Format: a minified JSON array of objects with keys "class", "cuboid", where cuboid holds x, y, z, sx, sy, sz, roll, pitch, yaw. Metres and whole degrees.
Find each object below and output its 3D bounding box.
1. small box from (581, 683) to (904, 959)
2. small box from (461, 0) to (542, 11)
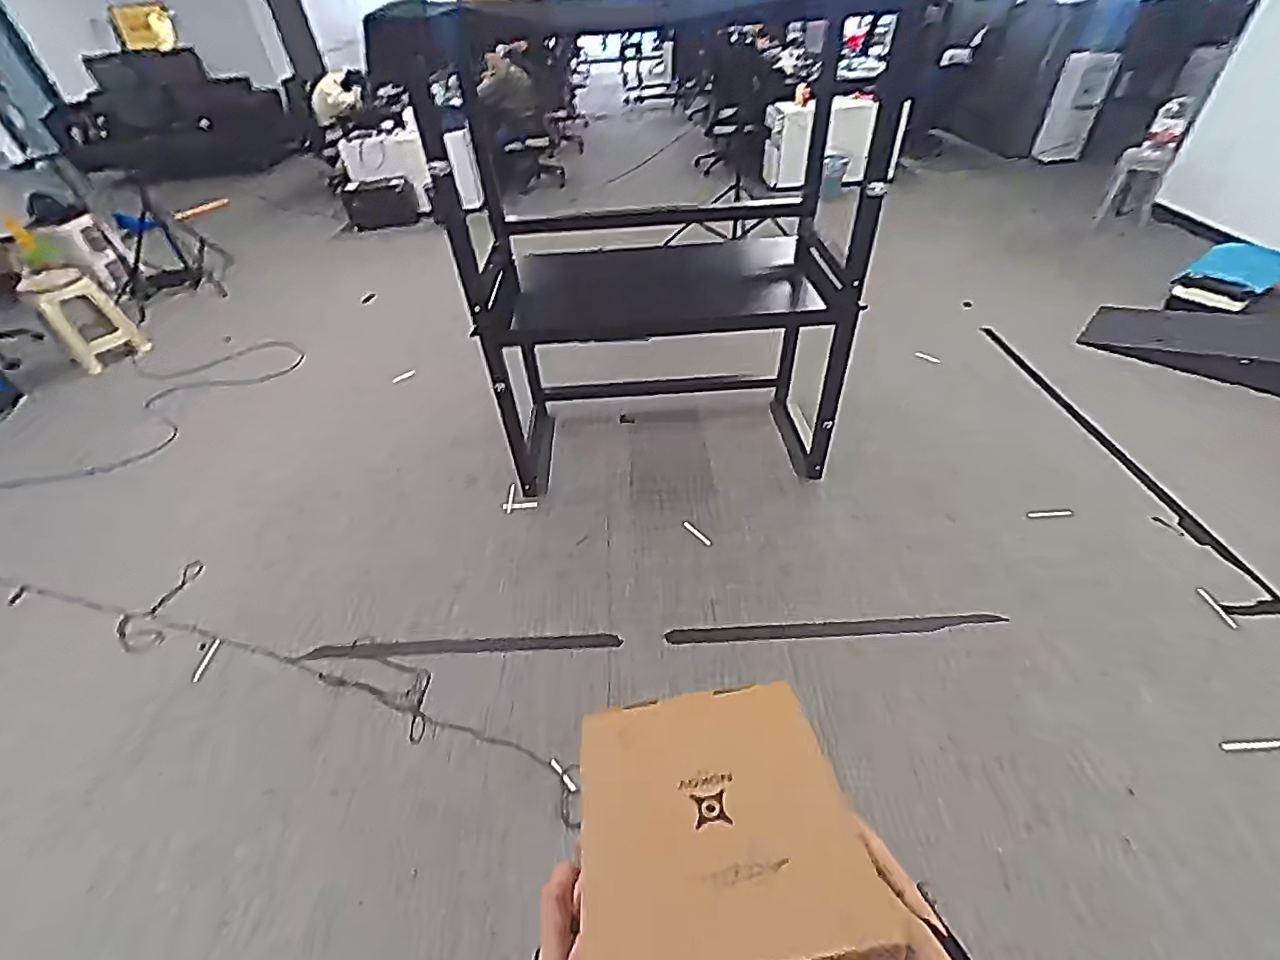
[{"class":"small box","cuboid":[0.052,0.277,0.375,0.168,0.176,0.179,-9,26,-2]},{"class":"small box","cuboid":[-0.309,-1.128,1.162,0.168,0.176,0.179,-2,40,0]}]
